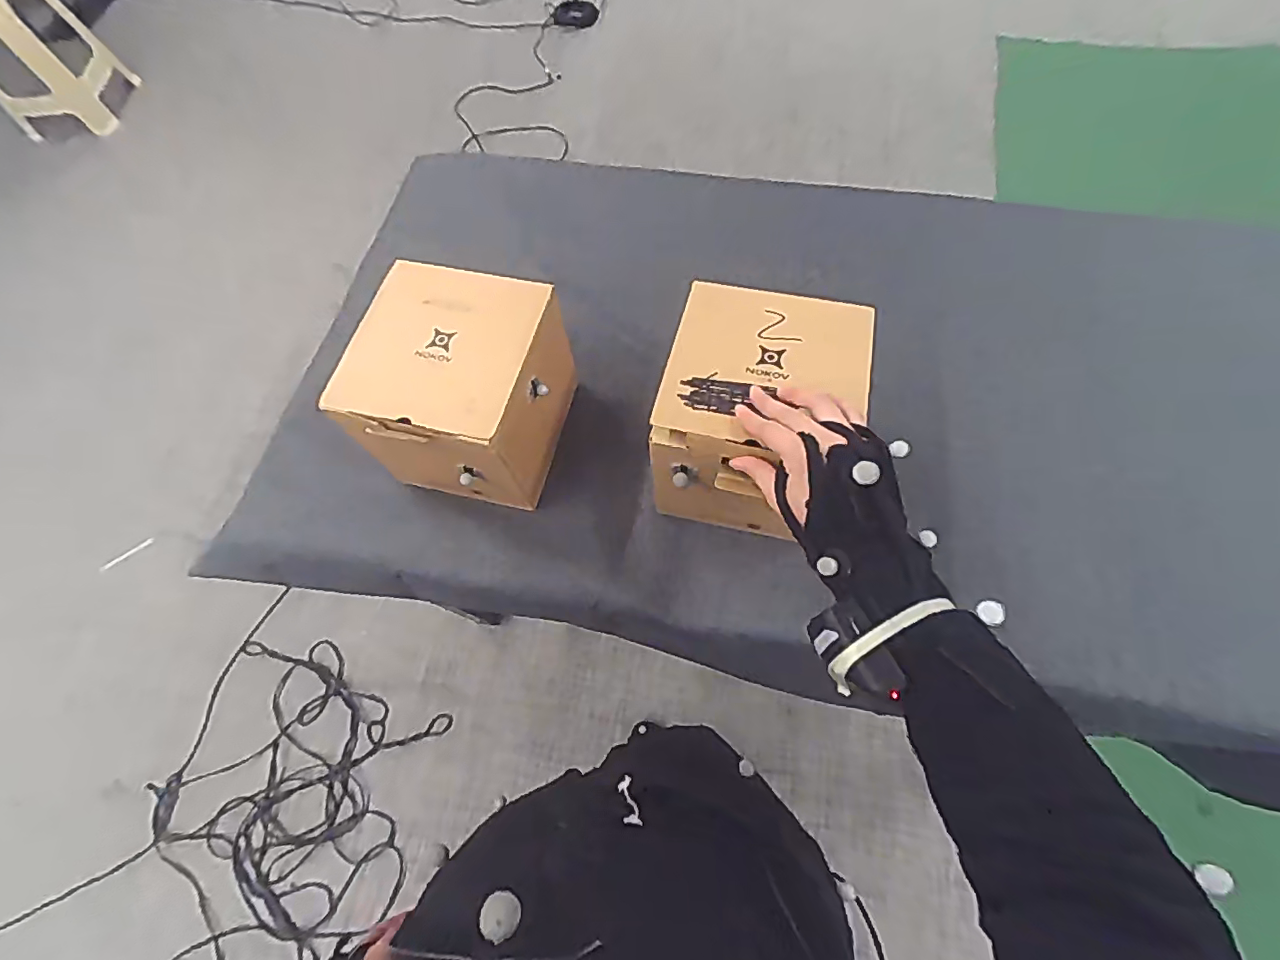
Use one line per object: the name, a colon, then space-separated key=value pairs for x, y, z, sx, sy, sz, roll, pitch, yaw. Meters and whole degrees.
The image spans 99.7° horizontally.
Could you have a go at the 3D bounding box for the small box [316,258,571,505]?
small box: x=-0.177 y=-0.091 z=0.557 sx=0.168 sy=0.176 sz=0.179 roll=12 pitch=67 yaw=7
